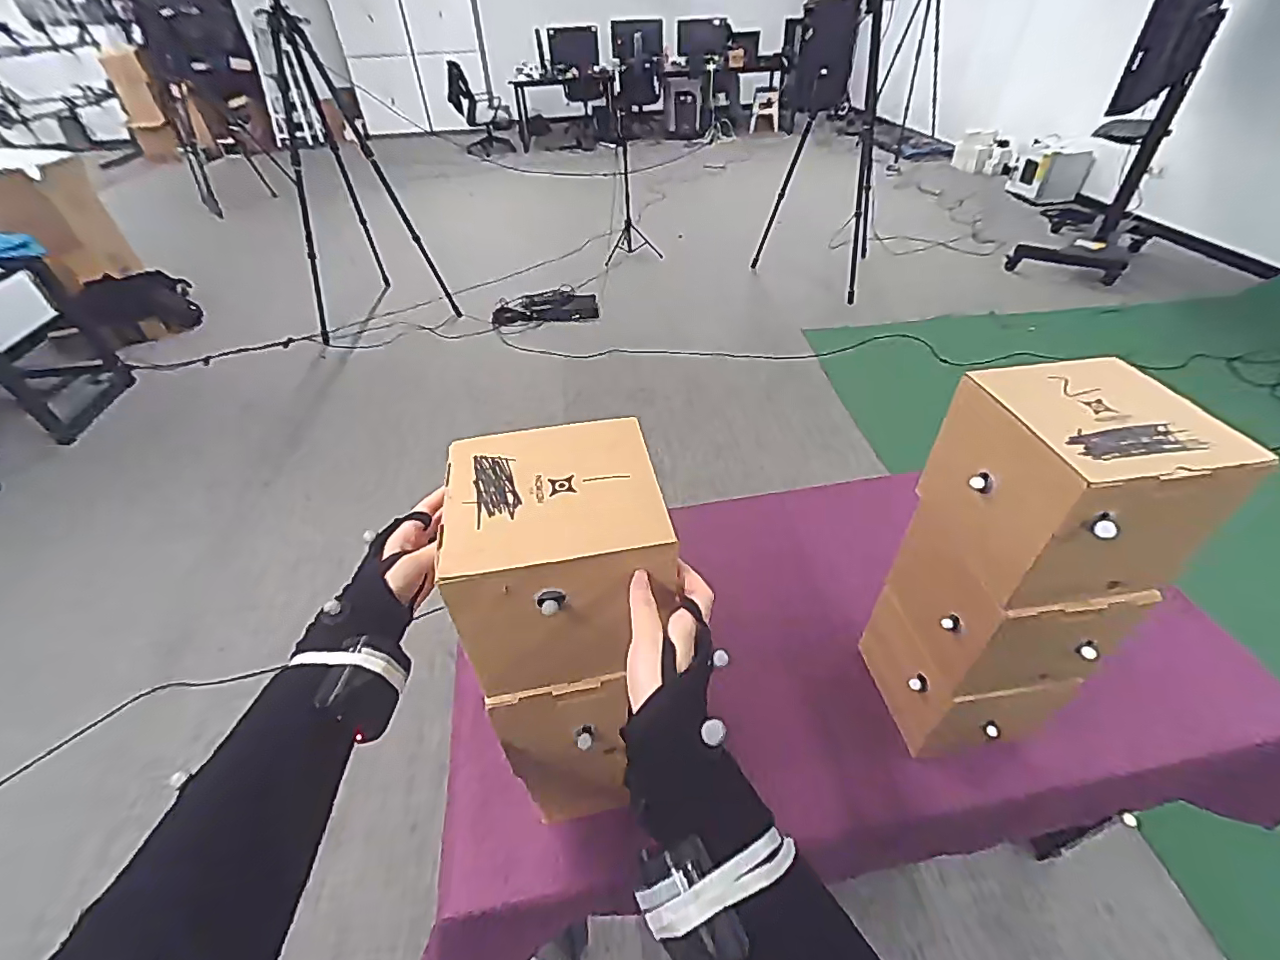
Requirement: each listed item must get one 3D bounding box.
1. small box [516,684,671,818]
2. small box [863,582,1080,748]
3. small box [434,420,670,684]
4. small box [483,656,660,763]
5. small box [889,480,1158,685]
[{"bbox_3d":[-0.061,0.318,0.715,0.179,0.176,0.168,-9,42,-7],"label":"small box"},{"bbox_3d":[0.437,0.250,0.749,0.168,0.176,0.179,-7,42,-4],"label":"small box"},{"bbox_3d":[-0.072,0.067,0.502,0.179,0.176,0.168,-8,41,-7],"label":"small box"},{"bbox_3d":[-0.074,0.194,0.608,0.168,0.176,0.179,-9,42,-7],"label":"small box"},{"bbox_3d":[0.428,0.126,0.643,0.168,0.176,0.179,-6,41,-2],"label":"small box"}]
